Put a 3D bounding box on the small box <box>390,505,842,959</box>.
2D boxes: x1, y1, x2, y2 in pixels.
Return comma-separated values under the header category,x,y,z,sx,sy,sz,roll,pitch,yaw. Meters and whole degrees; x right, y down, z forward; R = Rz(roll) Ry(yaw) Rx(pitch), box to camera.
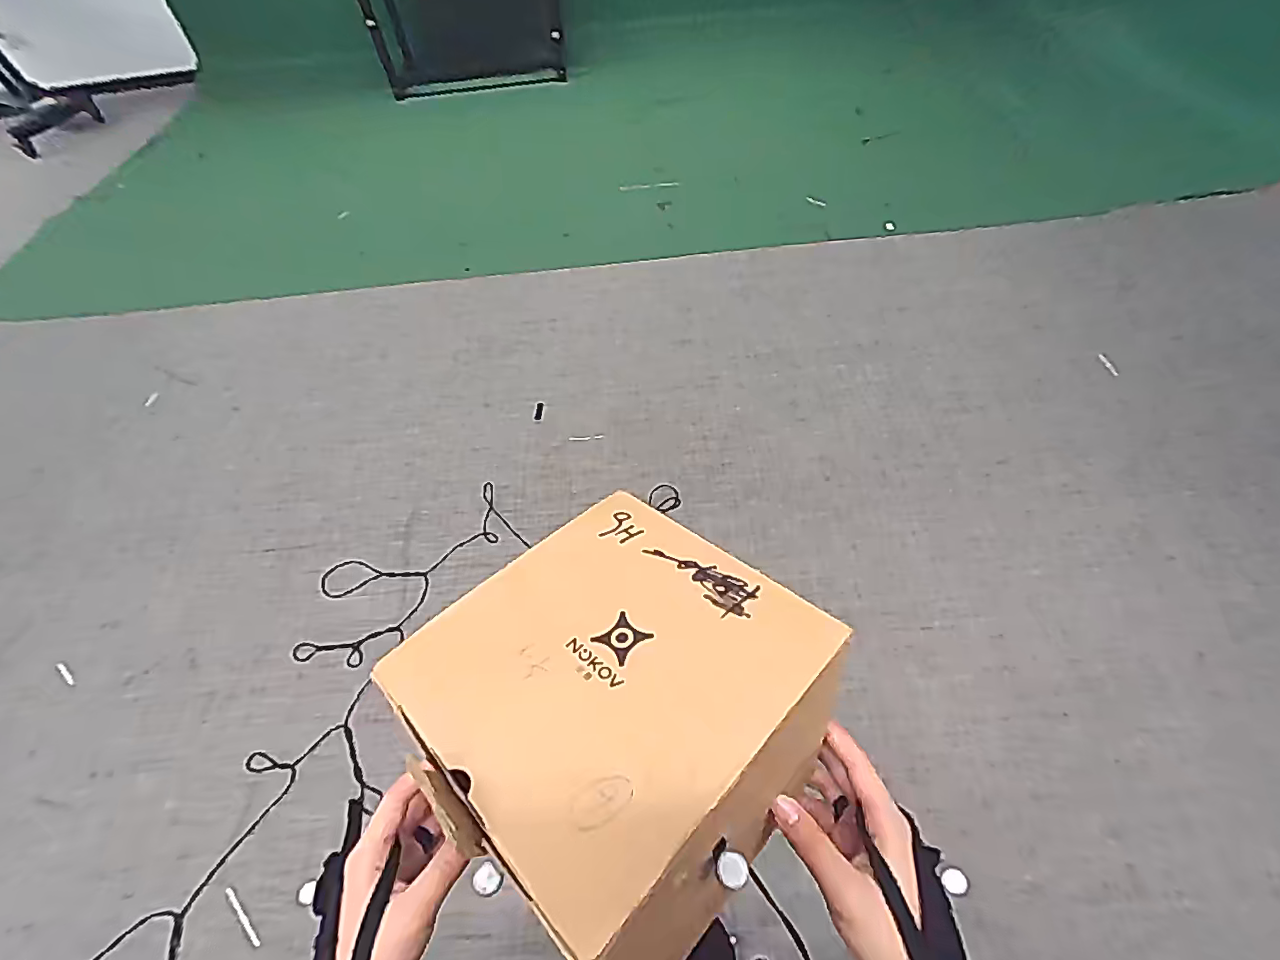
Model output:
category,x,y,z,sx,sy,sz,roll,pitch,yaw
small box,-0.006,0.153,0.324,0.168,0.176,0.179,30,52,35
